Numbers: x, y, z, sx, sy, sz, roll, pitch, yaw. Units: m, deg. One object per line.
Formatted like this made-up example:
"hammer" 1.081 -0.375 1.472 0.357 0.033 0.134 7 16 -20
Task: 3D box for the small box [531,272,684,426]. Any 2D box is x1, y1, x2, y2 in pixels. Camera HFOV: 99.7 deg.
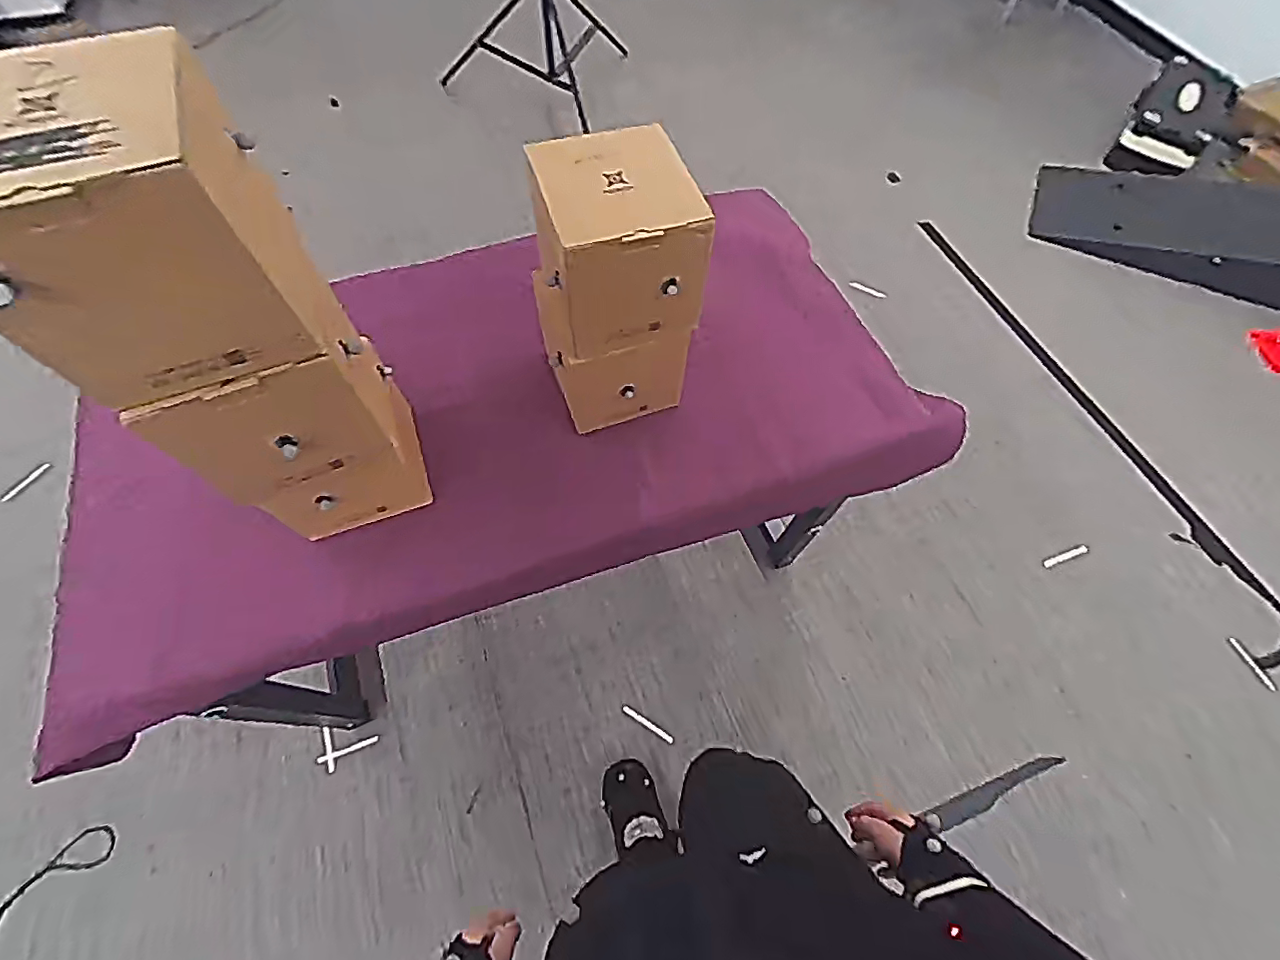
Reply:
"small box" -0.047 -0.198 0.794 0.168 0.176 0.179 -18 65 -11

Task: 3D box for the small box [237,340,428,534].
"small box" -0.396 -0.045 0.706 0.168 0.176 0.179 -19 65 -11

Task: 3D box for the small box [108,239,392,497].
"small box" -0.379 -0.102 0.552 0.168 0.176 0.179 -23 67 -13

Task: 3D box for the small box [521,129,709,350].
"small box" -0.032 -0.278 0.653 0.168 0.176 0.179 -17 64 -11
